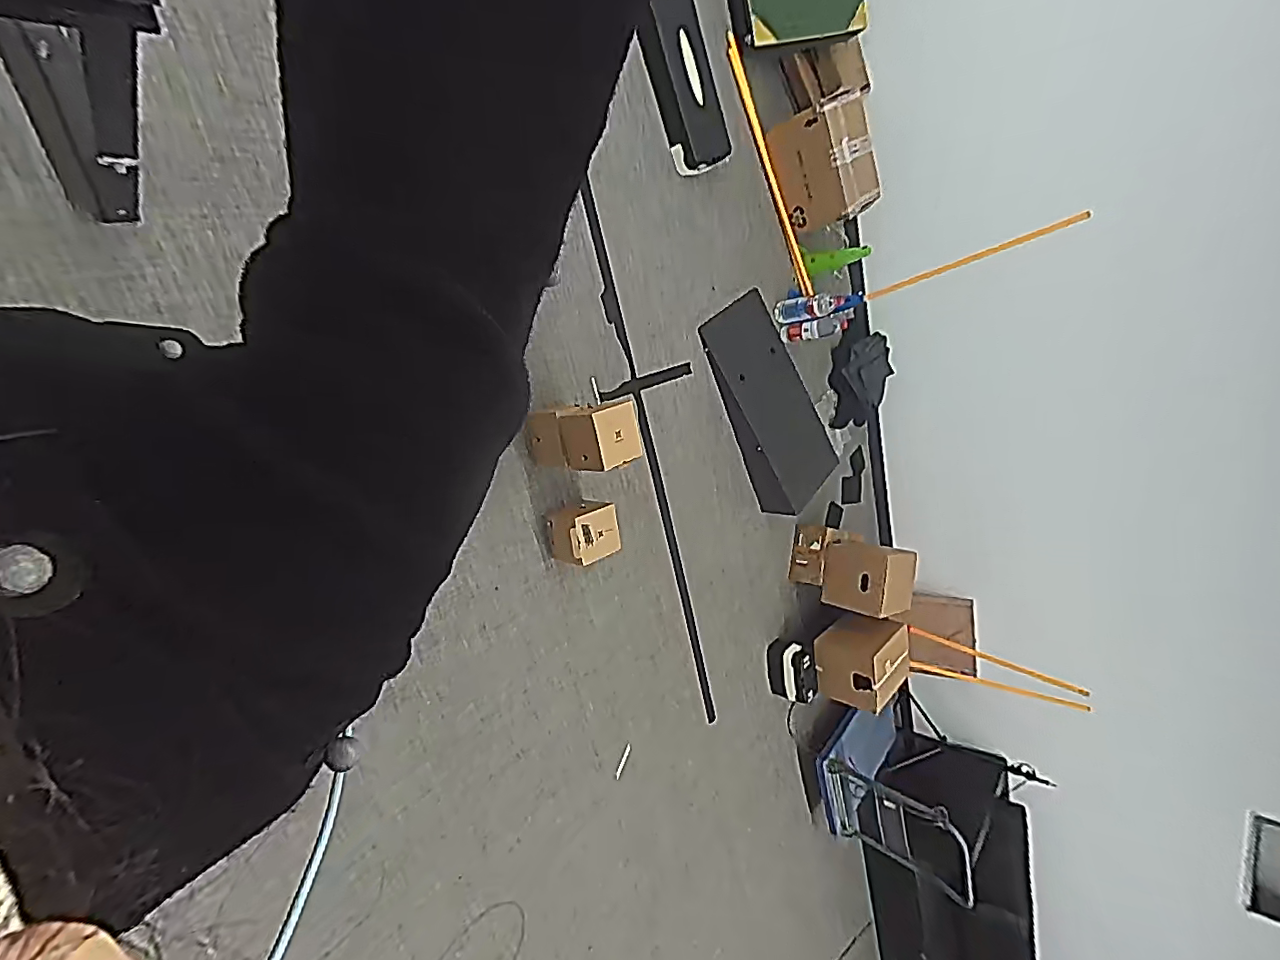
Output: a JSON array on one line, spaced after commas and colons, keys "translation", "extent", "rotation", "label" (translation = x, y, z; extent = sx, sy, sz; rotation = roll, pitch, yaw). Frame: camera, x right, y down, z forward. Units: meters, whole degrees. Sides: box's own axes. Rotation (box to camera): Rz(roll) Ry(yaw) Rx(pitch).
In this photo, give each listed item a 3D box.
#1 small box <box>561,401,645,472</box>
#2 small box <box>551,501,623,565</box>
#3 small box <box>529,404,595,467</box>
[{"translation": [-0.115, -0.134, 1.646], "extent": [0.168, 0.176, 0.179], "rotation": [-25, 109, -40], "label": "small box"}, {"translation": [-0.185, 0.174, 1.827], "extent": [0.179, 0.176, 0.168], "rotation": [-20, 106, -42], "label": "small box"}, {"translation": [-0.238, -0.147, 1.754], "extent": [0.168, 0.176, 0.179], "rotation": [-20, 107, -41], "label": "small box"}]
